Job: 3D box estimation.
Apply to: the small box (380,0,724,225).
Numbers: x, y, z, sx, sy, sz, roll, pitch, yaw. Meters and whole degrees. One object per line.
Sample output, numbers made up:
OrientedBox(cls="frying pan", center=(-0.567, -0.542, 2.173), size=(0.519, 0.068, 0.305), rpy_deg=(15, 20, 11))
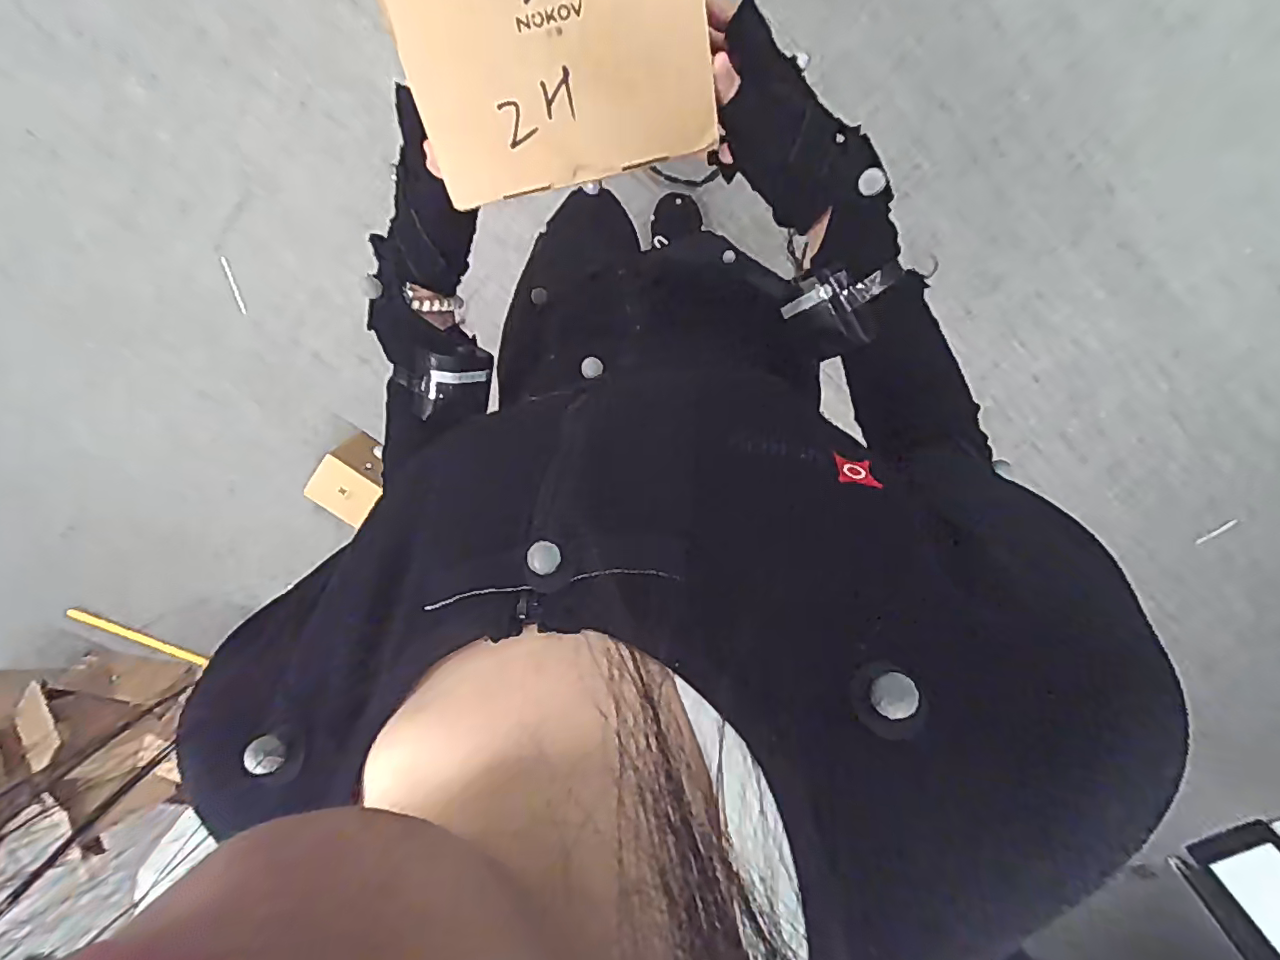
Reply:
OrientedBox(cls="small box", center=(-0.052, -0.281, 0.341), size=(0.168, 0.176, 0.179), rpy_deg=(-11, 124, 4))

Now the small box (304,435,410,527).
OrientedBox(cls="small box", center=(-0.795, -0.006, 1.534), size=(0.179, 0.176, 0.168), rpy_deg=(38, 113, -16))
